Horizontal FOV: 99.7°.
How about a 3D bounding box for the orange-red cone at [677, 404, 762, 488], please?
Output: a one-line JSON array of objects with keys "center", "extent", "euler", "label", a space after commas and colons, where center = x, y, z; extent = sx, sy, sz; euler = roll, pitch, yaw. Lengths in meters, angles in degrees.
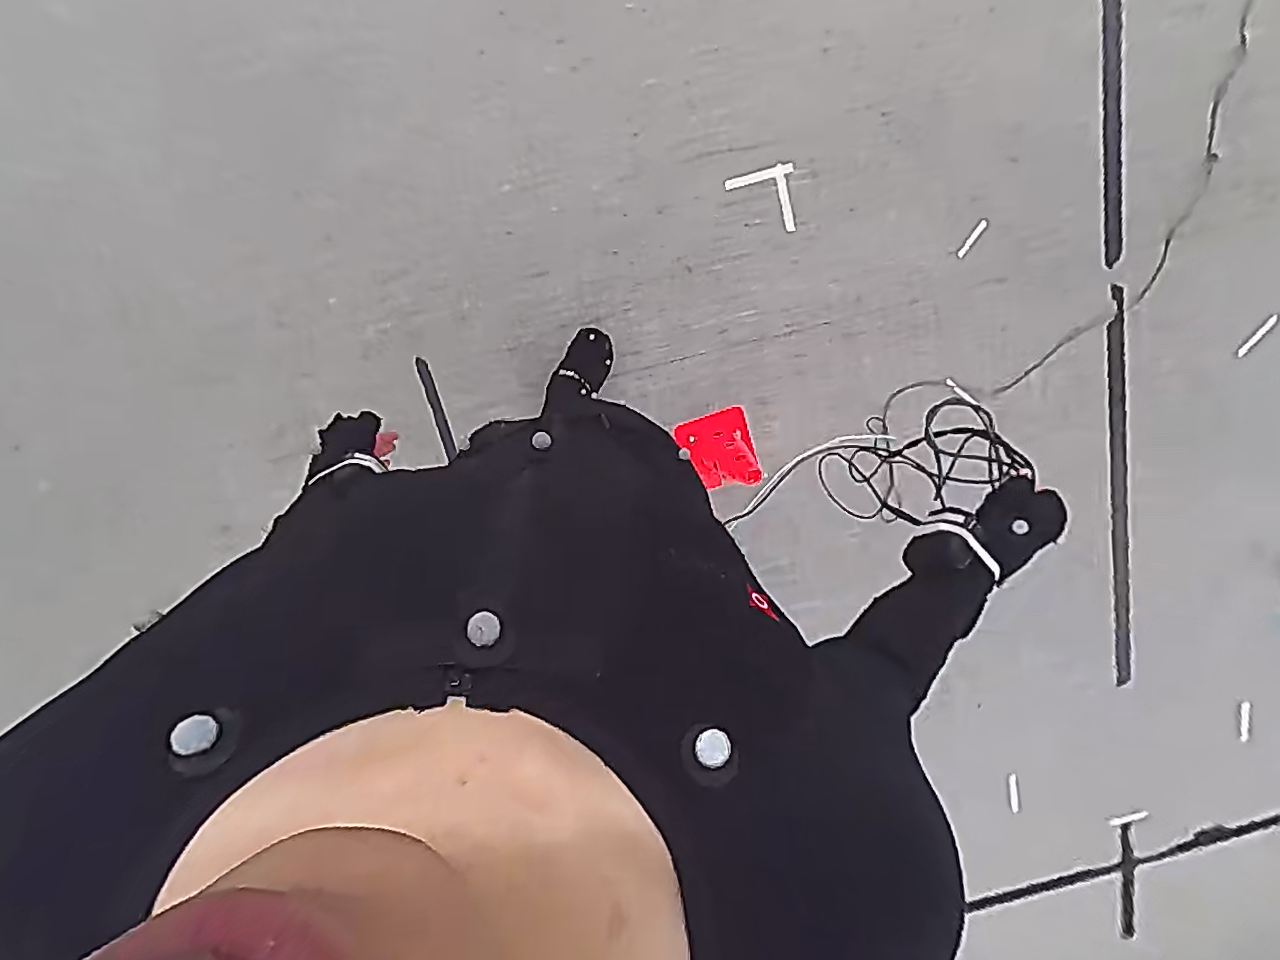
[{"center": [0.225, -0.051, 1.287], "extent": [0.198, 0.360, 0.199], "euler": [-18, 104, 0], "label": "orange-red cone"}]
